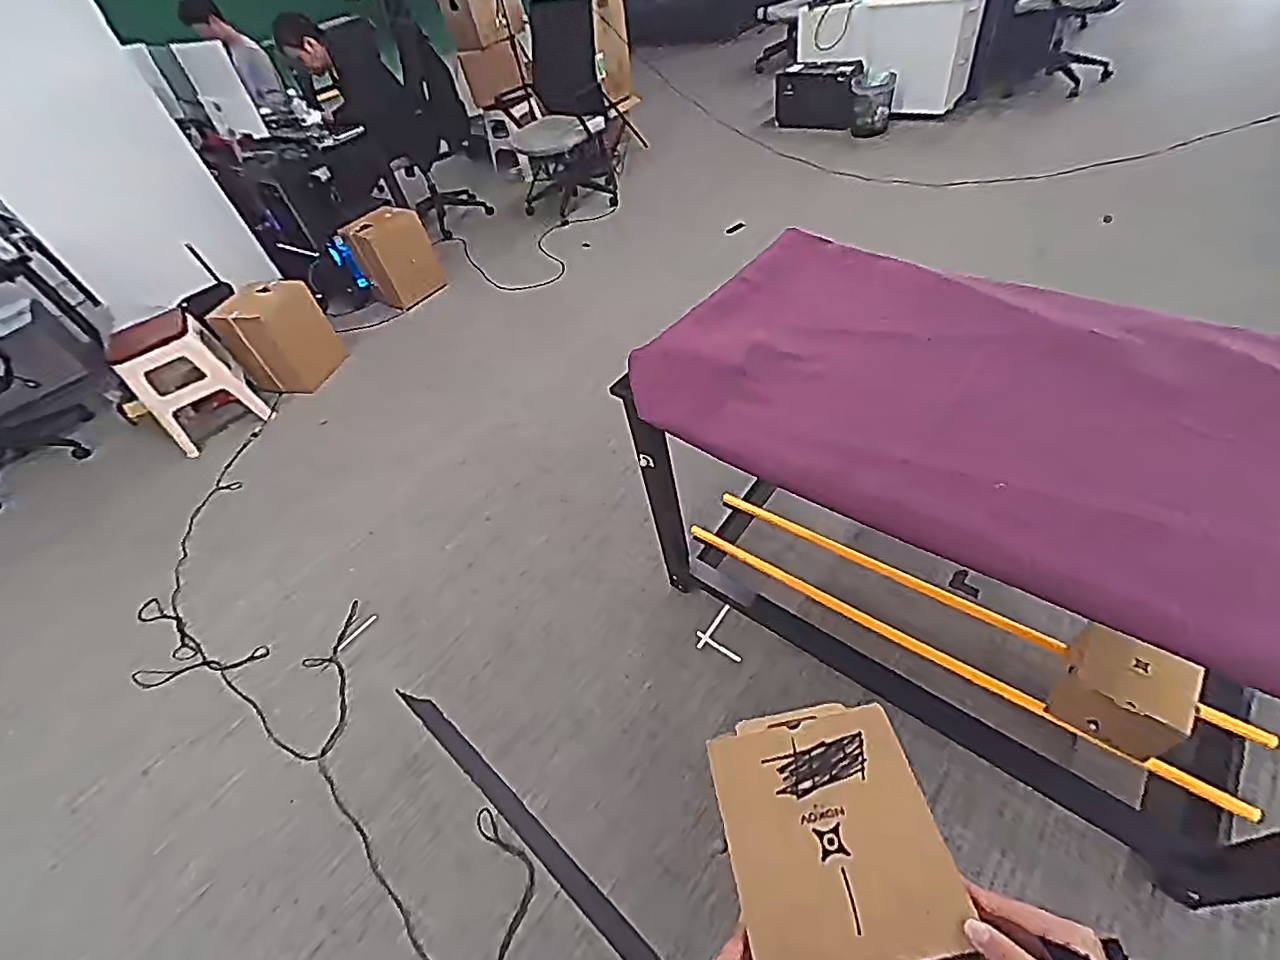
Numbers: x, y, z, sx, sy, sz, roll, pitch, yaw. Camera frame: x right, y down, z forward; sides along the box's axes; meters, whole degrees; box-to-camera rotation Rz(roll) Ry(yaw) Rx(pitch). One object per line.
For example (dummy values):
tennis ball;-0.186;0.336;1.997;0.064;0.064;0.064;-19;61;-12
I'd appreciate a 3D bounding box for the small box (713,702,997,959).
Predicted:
small box;0.167;0.331;0.484;0.168;0.176;0.179;-13;44;2

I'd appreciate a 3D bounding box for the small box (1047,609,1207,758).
small box;0.915;0.388;1.029;0.168;0.176;0.179;26;60;32
